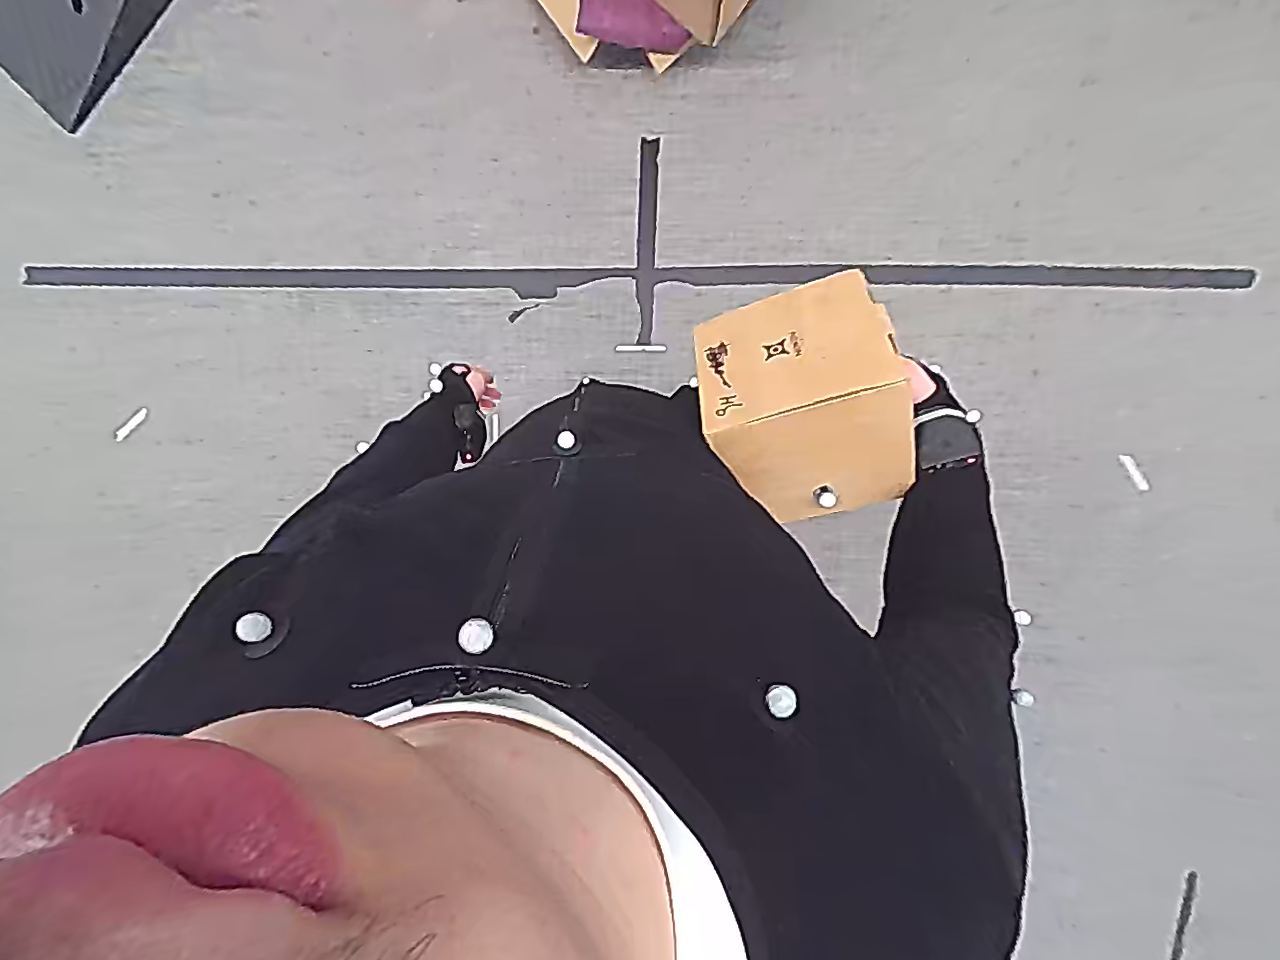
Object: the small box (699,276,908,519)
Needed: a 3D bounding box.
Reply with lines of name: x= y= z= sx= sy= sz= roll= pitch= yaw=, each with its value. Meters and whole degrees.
small box: x=0.174 y=-0.080 z=0.586 sx=0.179 sy=0.168 sz=0.176 roll=-14 pitch=138 yaw=17
